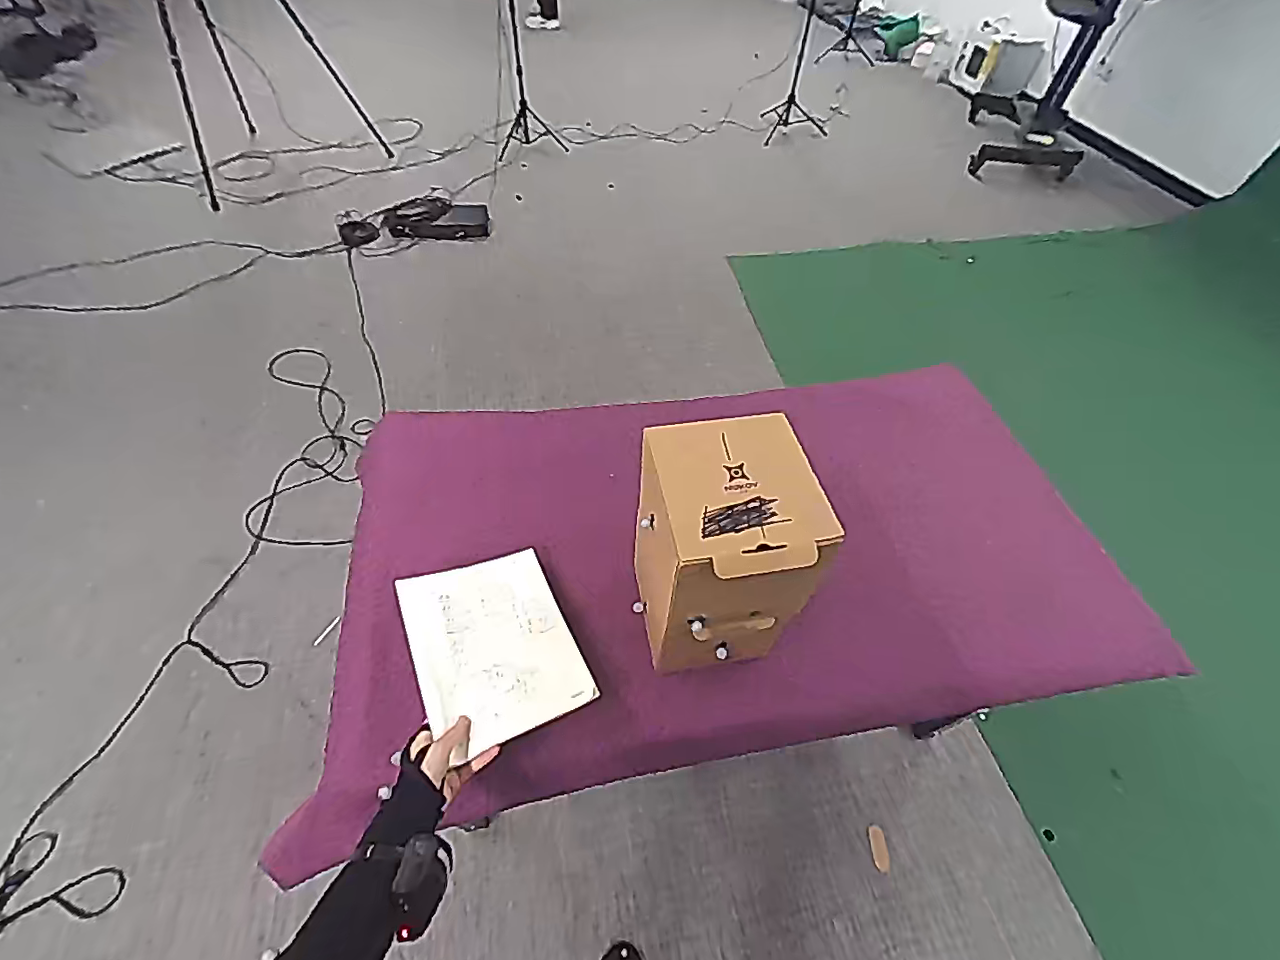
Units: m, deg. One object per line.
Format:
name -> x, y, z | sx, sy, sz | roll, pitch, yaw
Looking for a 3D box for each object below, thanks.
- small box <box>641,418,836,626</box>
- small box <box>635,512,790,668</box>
small box -> 0.096, 0.054, 0.625 | 0.168, 0.176, 0.179 | -7, 52, -8
small box -> 0.088, 0.151, 0.760 | 0.168, 0.176, 0.179 | -7, 54, -8
